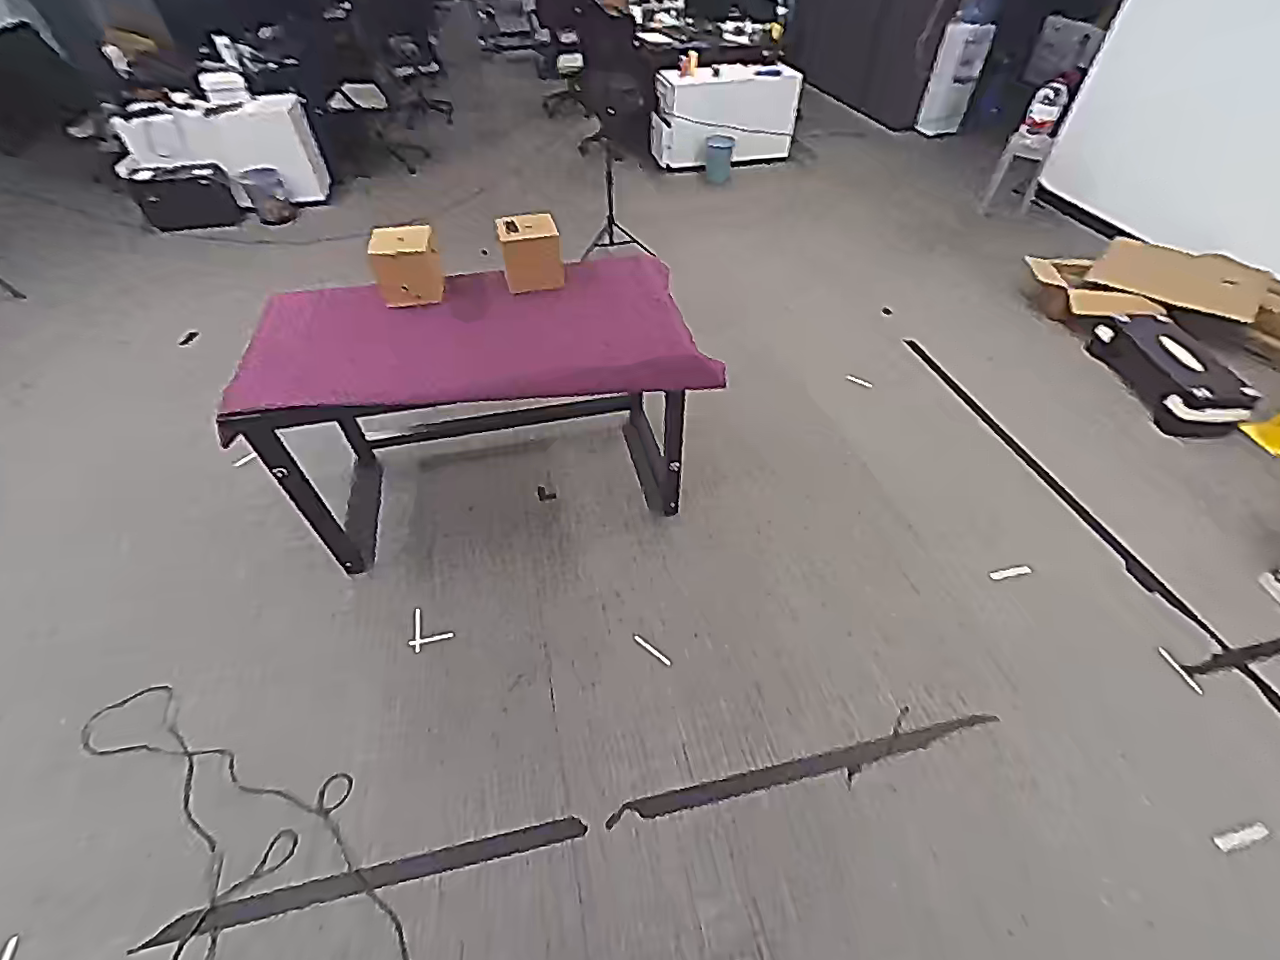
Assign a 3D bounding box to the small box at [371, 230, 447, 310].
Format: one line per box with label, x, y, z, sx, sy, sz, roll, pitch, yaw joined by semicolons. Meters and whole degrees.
small box;-0.698;-0.643;1.657;0.168;0.176;0.179;-8;48;-7
